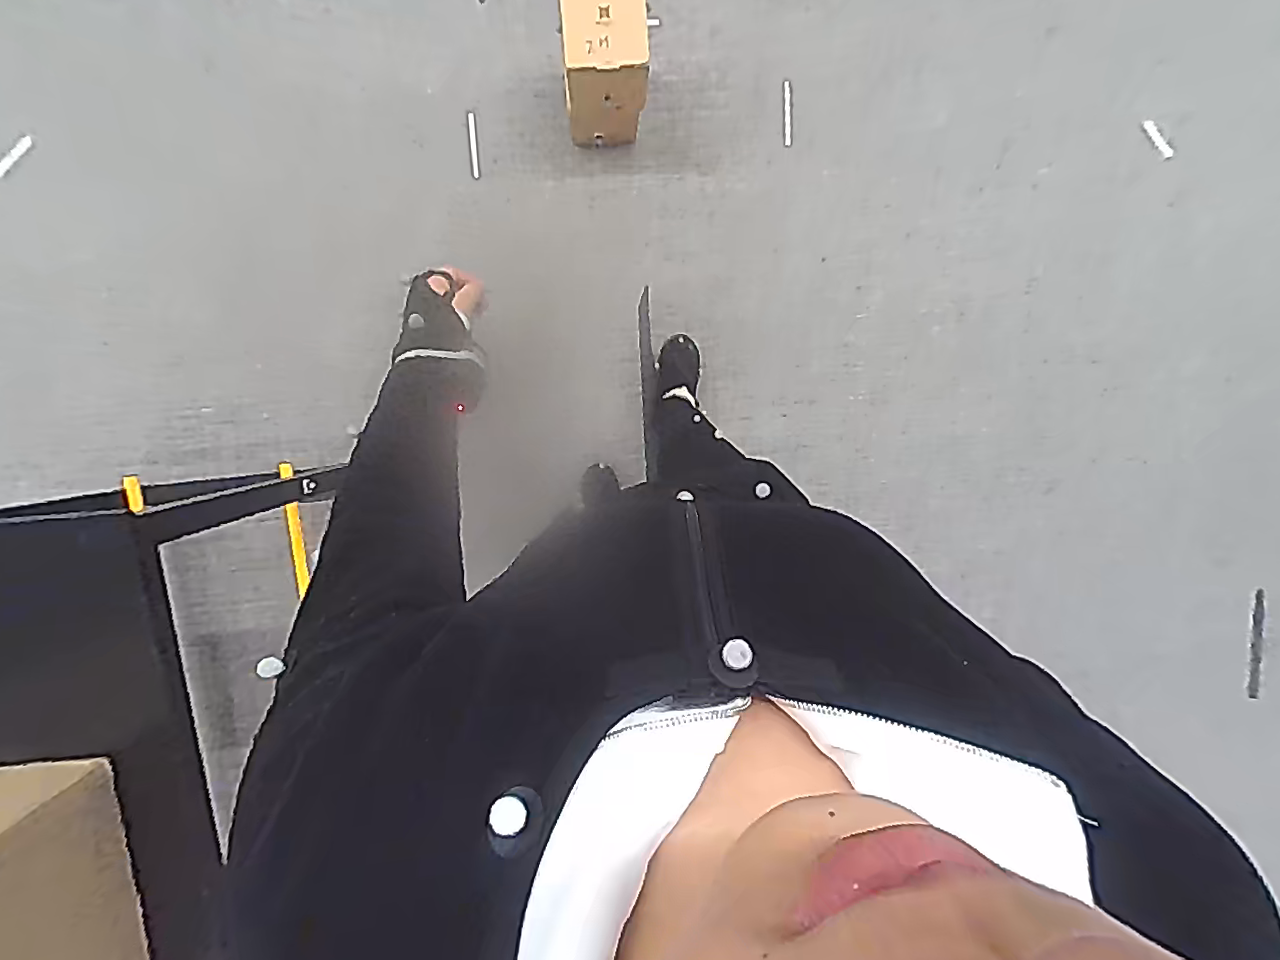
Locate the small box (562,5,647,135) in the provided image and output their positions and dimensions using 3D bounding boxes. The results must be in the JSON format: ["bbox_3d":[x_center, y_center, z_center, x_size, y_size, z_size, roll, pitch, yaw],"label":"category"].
[{"bbox_3d":[-0.078,-0.895,1.188,0.168,0.176,0.179,-6,100,-2],"label":"small box"}]

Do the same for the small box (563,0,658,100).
[{"bbox_3d":[-0.059,-0.864,1.027,0.168,0.176,0.179,-5,98,-2],"label":"small box"}]
